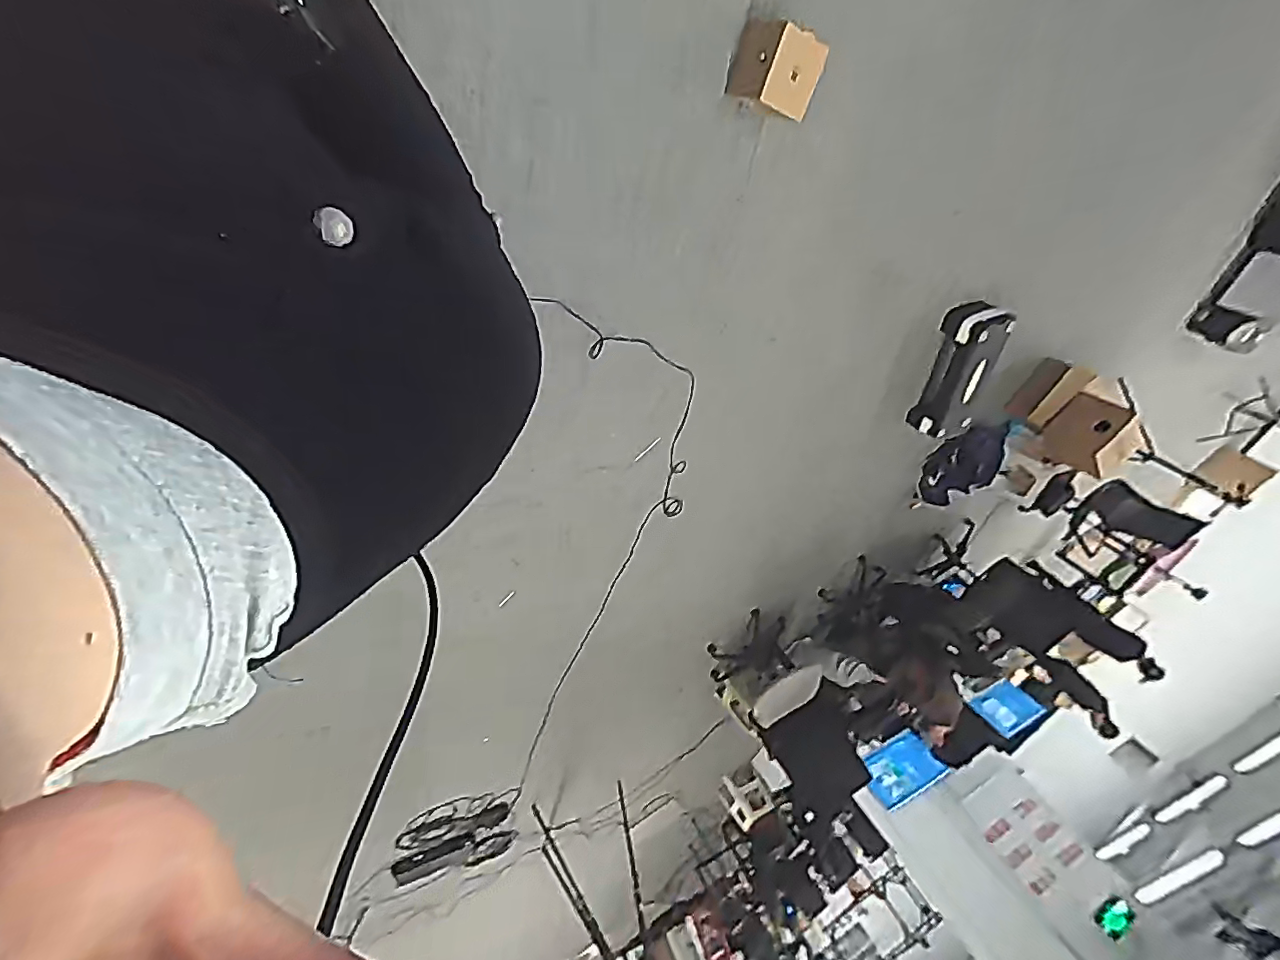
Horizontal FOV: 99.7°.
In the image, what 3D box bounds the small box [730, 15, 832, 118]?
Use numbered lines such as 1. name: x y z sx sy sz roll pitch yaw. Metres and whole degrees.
1. small box: 0.372 -1.118 1.462 0.168 0.176 0.179 0 127 -33
